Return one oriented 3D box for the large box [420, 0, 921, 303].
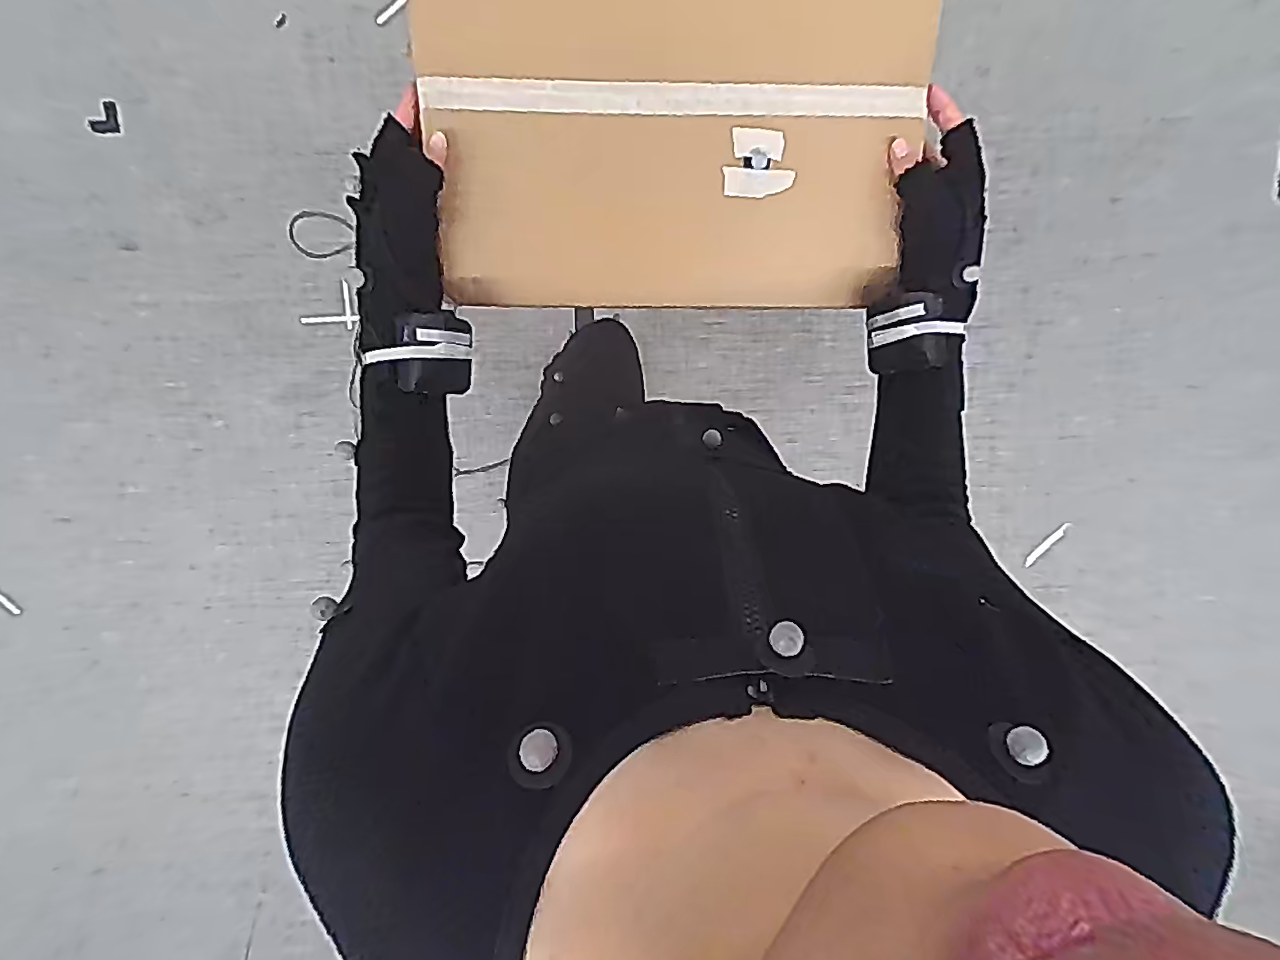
[{"bbox_3d":[0.018,-0.360,0.587,0.408,0.320,0.320,-1,109,-3],"label":"large box"}]
